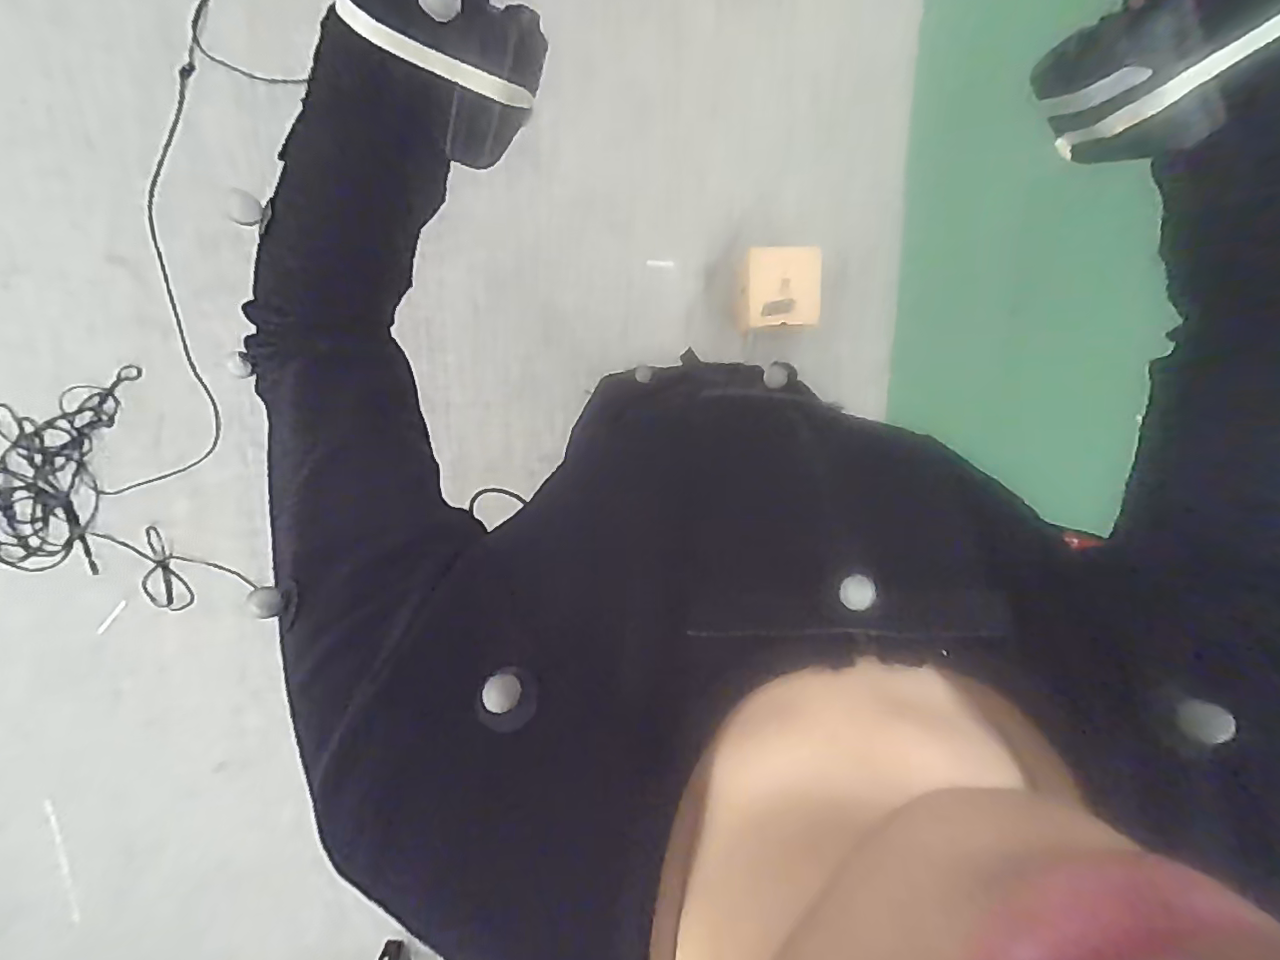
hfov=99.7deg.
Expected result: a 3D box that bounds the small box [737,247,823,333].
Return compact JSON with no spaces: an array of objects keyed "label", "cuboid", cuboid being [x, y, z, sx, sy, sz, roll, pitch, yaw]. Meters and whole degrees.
[{"label":"small box","cuboid":[0.332,-0.451,1.307,0.168,0.176,0.179,-1,100,1]}]
